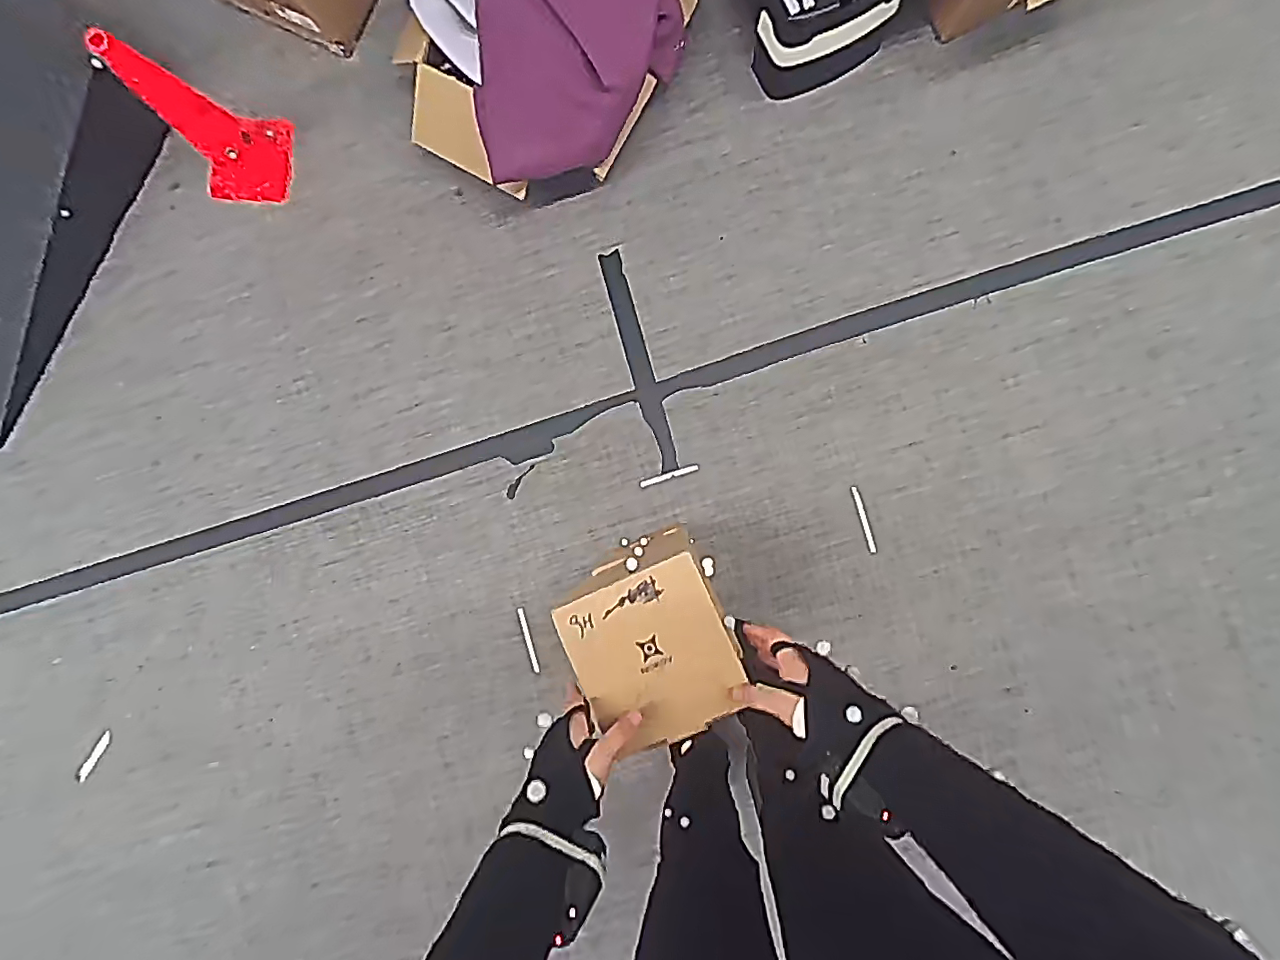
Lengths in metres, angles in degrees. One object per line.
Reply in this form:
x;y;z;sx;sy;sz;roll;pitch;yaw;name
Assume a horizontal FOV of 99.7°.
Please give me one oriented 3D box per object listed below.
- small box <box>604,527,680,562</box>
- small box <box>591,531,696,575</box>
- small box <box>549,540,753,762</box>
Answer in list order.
0.037;0.207;1.137;0.168;0.176;0.179;-24;89;3;small box
0.032;0.199;0.973;0.179;0.176;0.168;-22;88;3;small box
0.017;0.187;0.645;0.168;0.176;0.179;-25;89;3;small box
